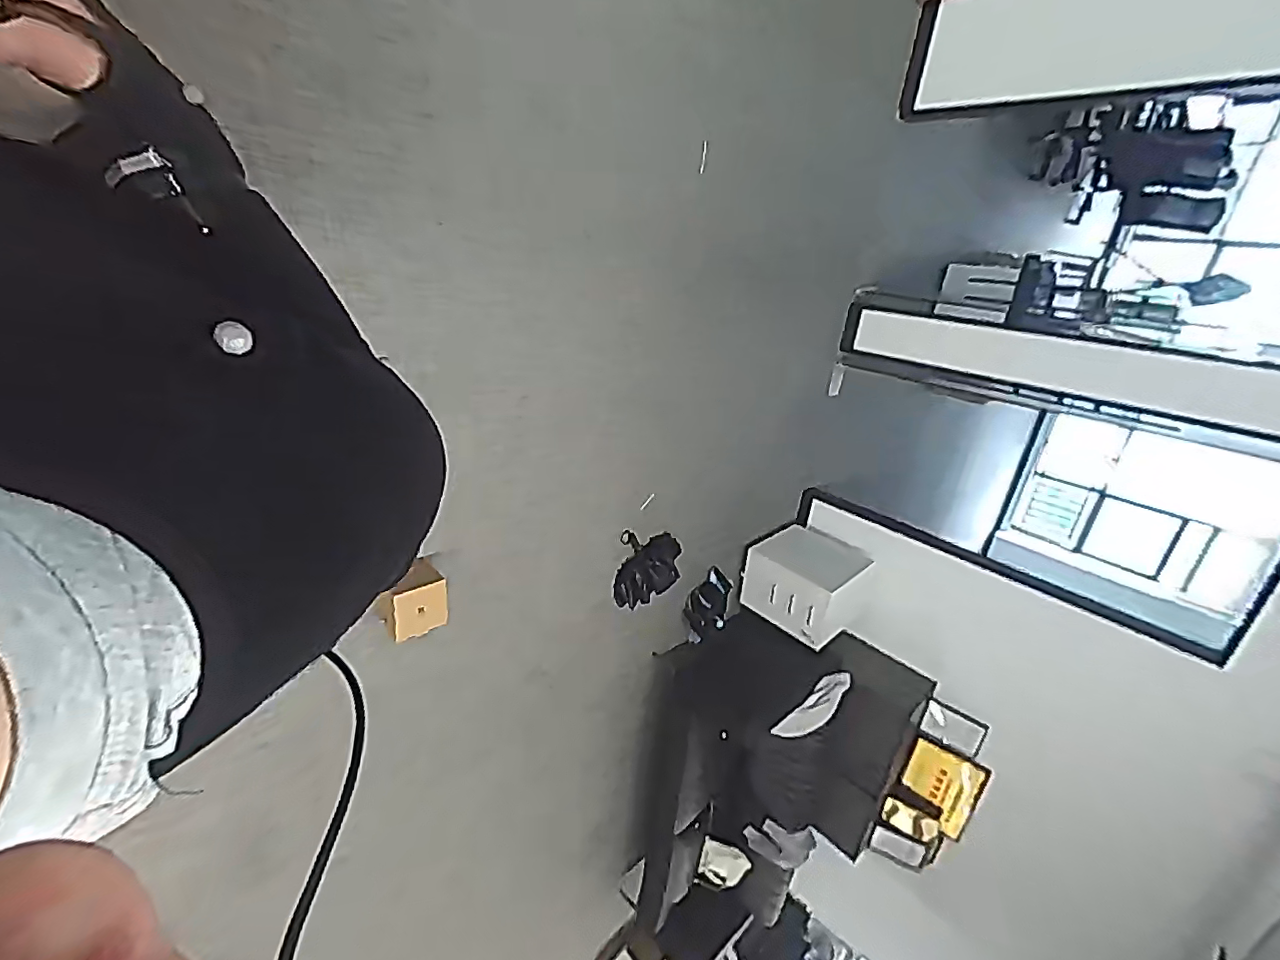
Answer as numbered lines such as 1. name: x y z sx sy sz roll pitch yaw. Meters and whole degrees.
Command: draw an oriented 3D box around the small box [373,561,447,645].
1. small box: -0.735 0.387 1.731 0.168 0.176 0.179 -17 120 -43
